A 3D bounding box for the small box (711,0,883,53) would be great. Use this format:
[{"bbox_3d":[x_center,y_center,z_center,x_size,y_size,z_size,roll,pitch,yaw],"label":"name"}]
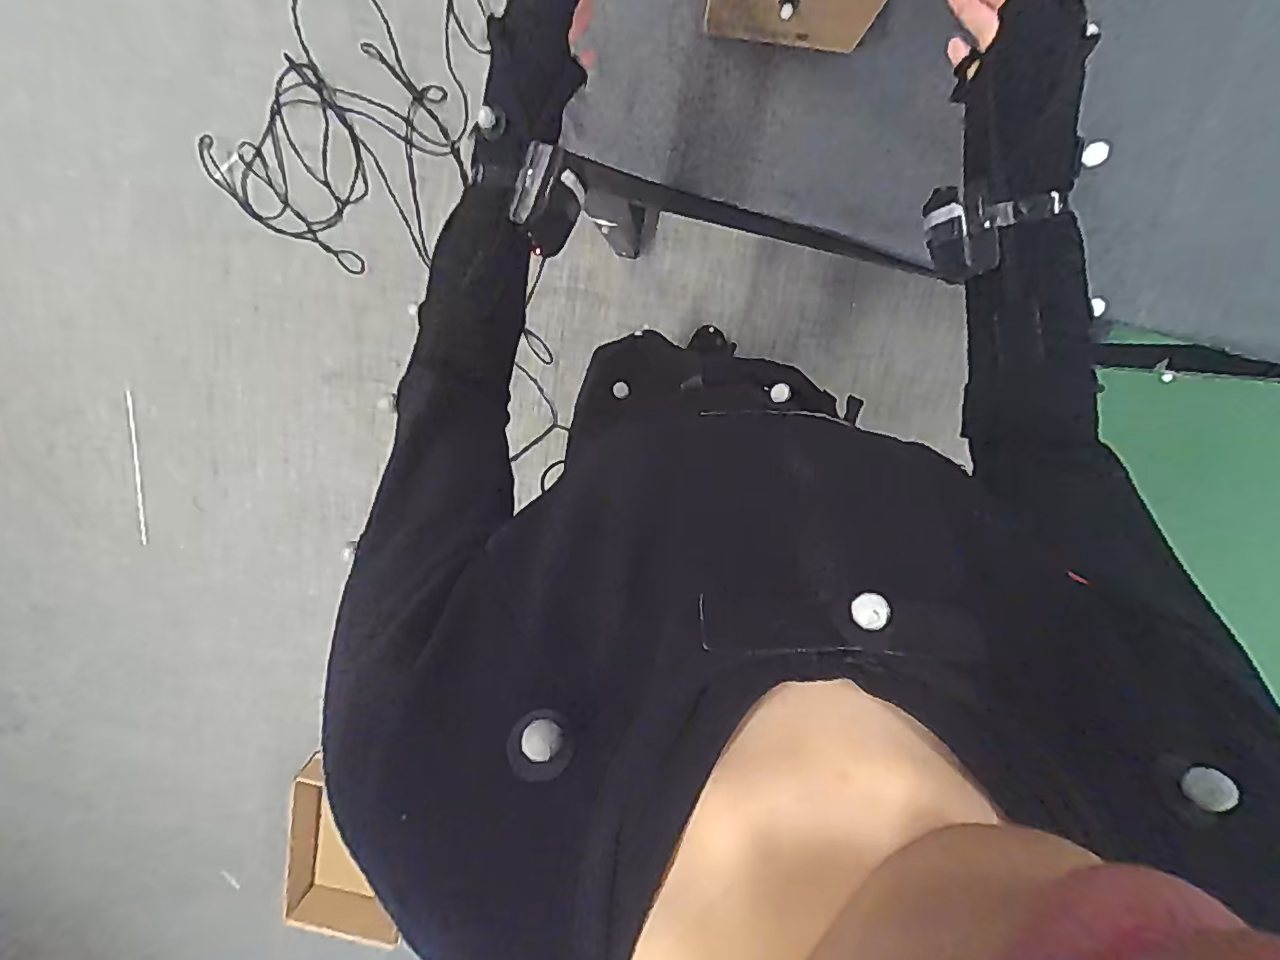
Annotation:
[{"bbox_3d":[0.162,-0.538,0.498,0.168,0.176,0.179,7,104,0],"label":"small box"}]
